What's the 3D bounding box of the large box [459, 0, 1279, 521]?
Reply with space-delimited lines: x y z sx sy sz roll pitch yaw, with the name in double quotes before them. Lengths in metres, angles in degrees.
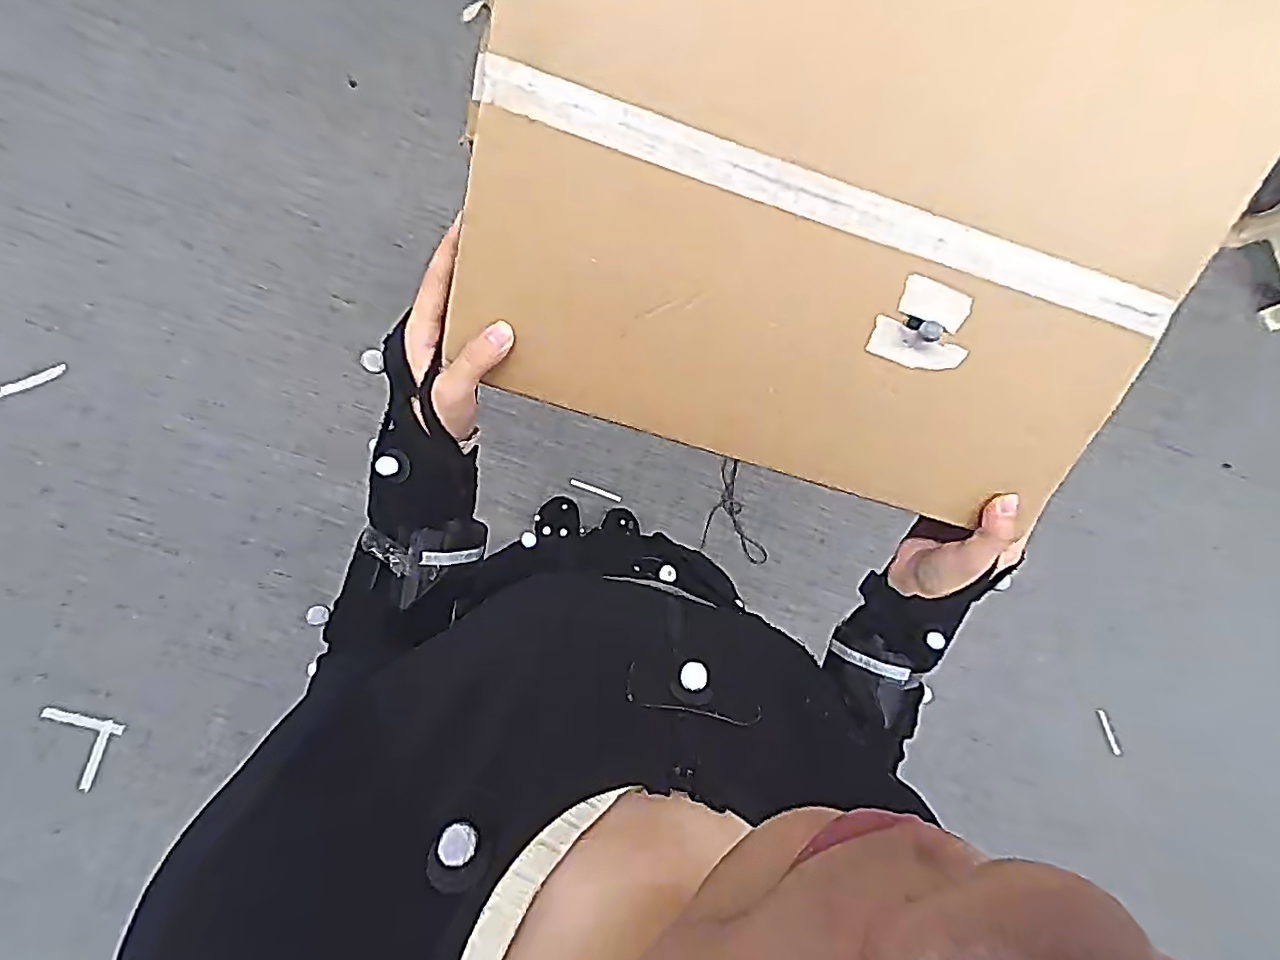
"large box" 0.113 -0.210 0.440 0.408 0.320 0.320 15 113 -7
